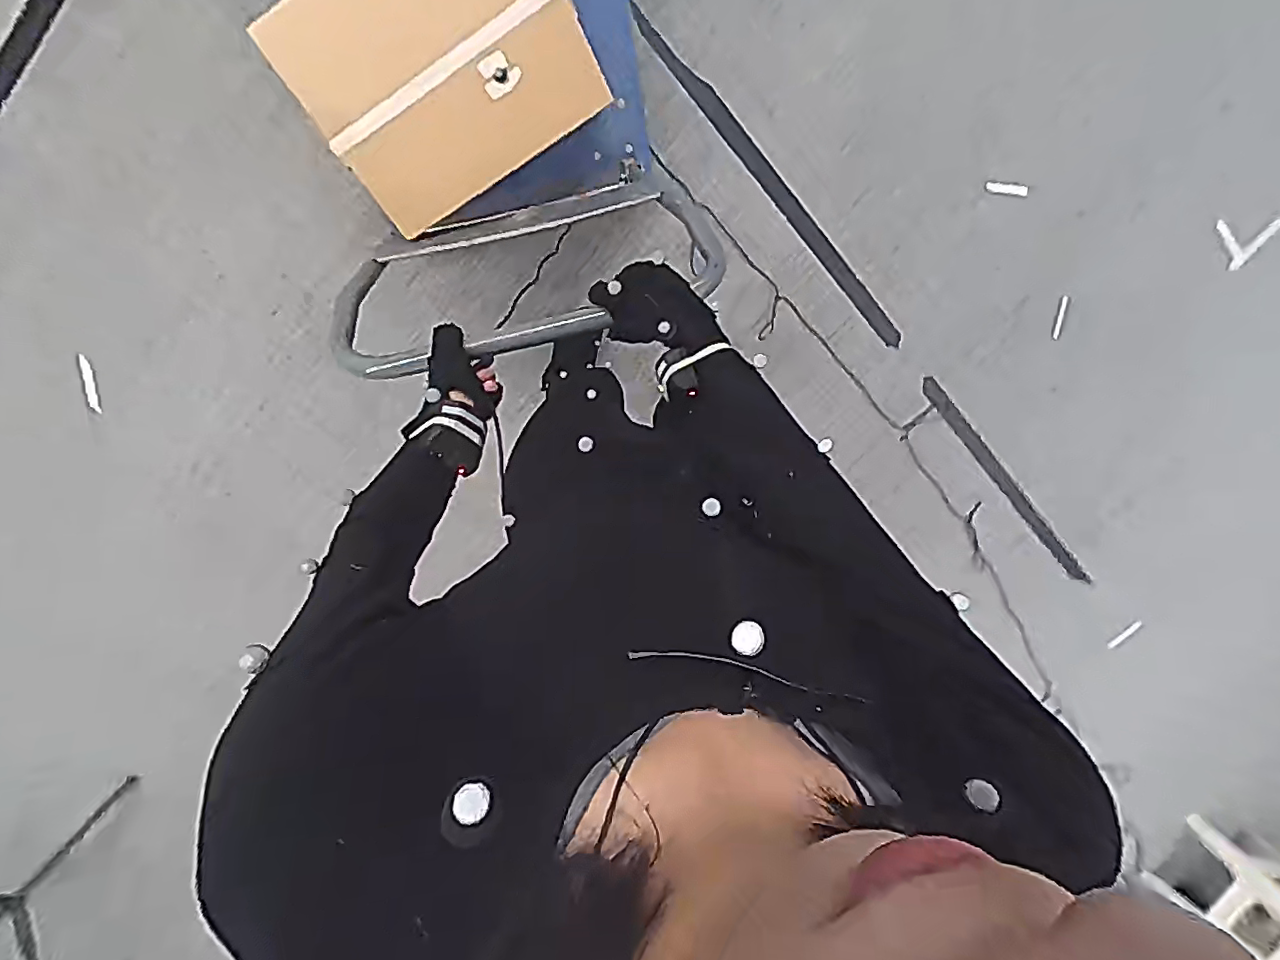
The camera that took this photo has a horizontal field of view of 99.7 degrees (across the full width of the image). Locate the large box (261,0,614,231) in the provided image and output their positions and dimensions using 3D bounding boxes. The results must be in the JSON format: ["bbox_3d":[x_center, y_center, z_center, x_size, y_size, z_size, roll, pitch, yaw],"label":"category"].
[{"bbox_3d":[-0.306,-0.690,0.911,0.408,0.320,0.320,-31,124,8],"label":"large box"}]
